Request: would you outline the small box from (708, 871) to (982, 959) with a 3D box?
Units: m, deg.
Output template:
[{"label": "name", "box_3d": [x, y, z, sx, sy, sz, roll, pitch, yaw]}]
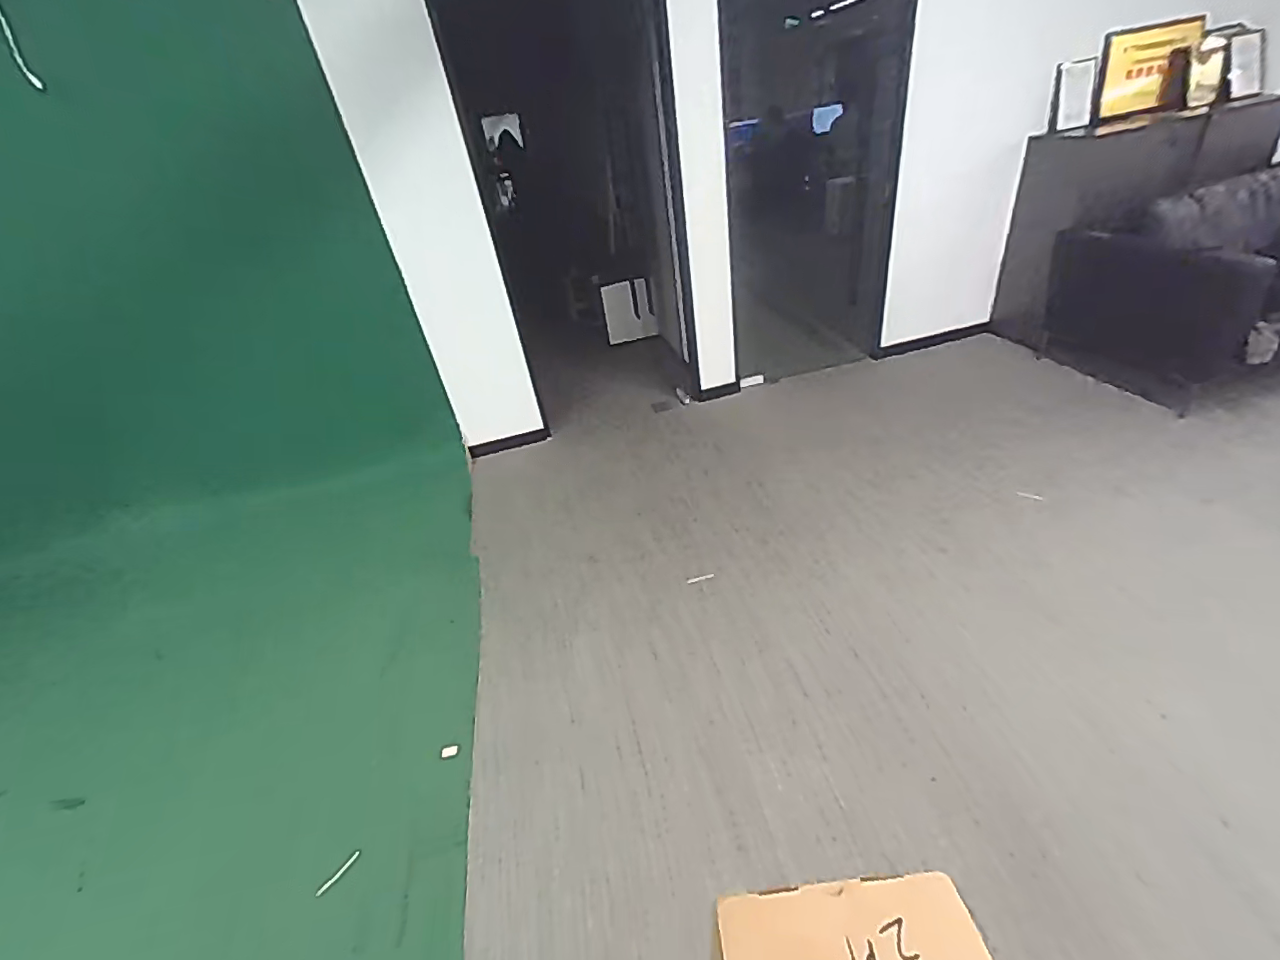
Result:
[{"label": "small box", "box_3d": [0.140, 0.395, 0.345, 0.168, 0.176, 0.179, -5, 30, -2]}]
